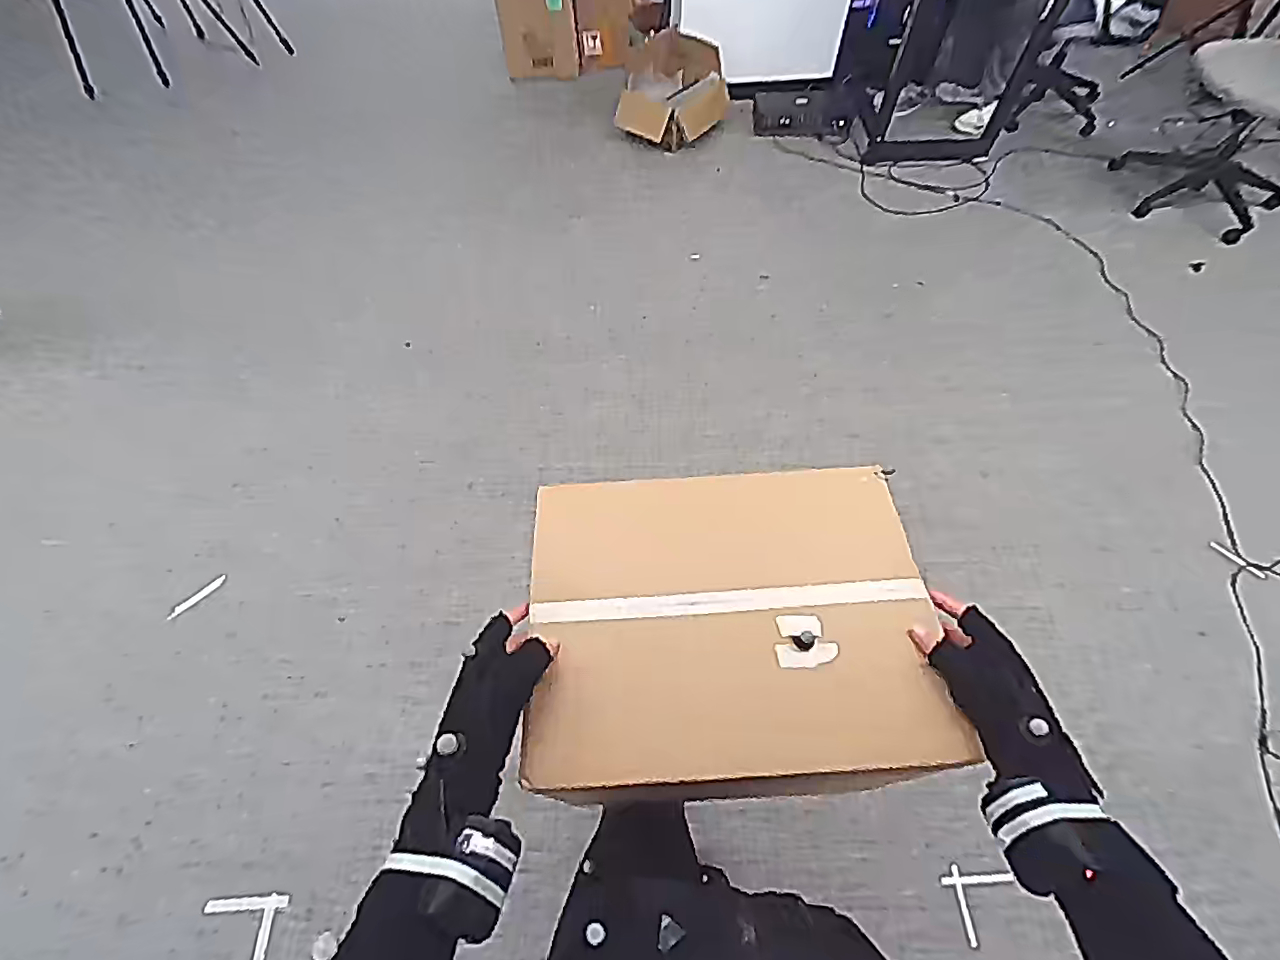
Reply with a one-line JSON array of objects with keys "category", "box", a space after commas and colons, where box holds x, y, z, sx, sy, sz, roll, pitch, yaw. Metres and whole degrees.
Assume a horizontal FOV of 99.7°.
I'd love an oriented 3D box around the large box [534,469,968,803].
[{"category": "large box", "box": [0.093, 0.209, 0.689, 0.408, 0.320, 0.320, -4, 57, -1]}]
